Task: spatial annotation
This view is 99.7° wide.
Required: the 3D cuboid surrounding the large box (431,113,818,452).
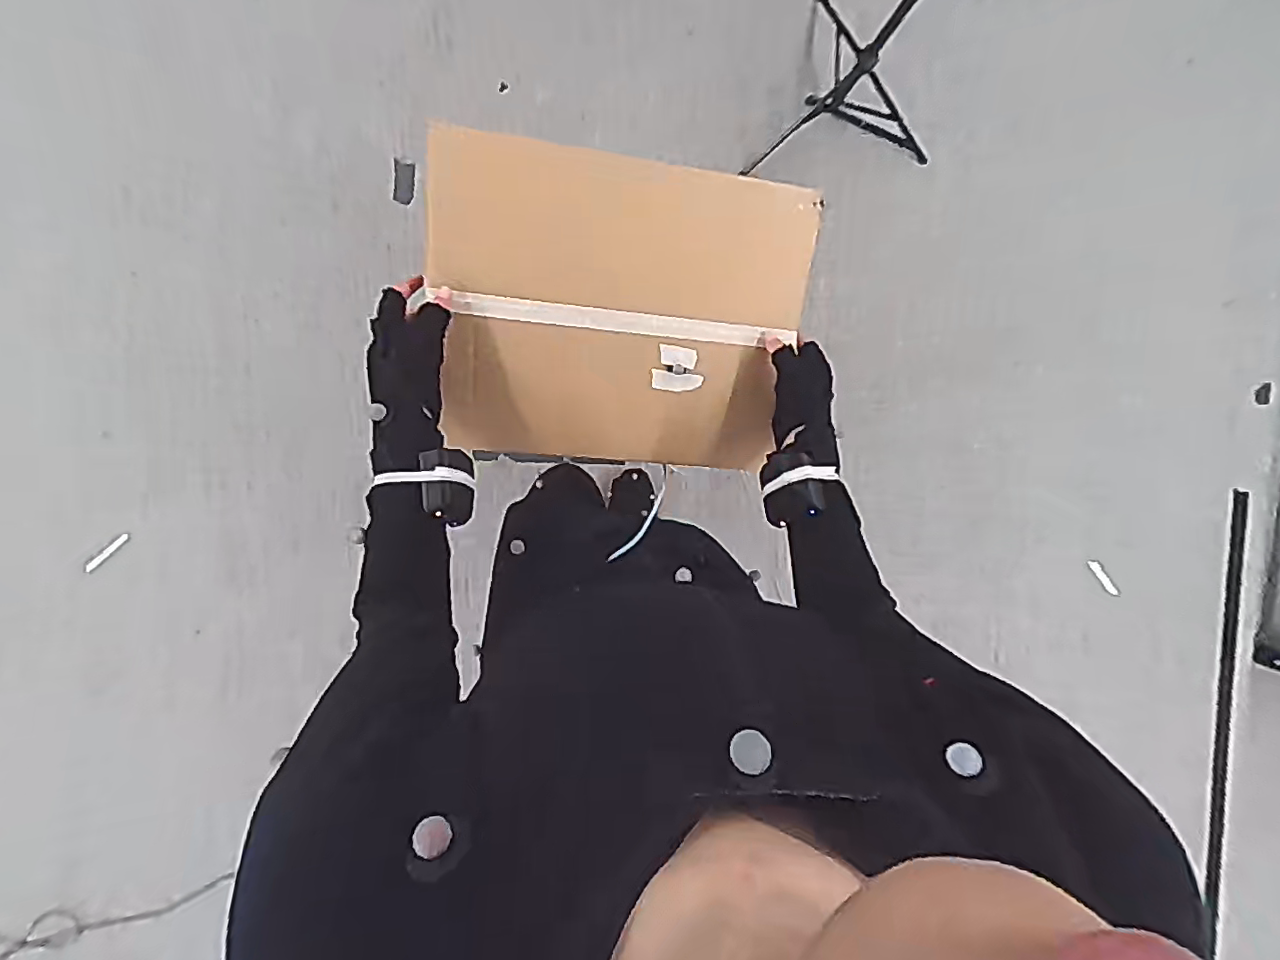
[{"bbox_3d":[-0.044,-0.235,0.726,0.408,0.320,0.320,4,108,-11],"label":"large box"}]
